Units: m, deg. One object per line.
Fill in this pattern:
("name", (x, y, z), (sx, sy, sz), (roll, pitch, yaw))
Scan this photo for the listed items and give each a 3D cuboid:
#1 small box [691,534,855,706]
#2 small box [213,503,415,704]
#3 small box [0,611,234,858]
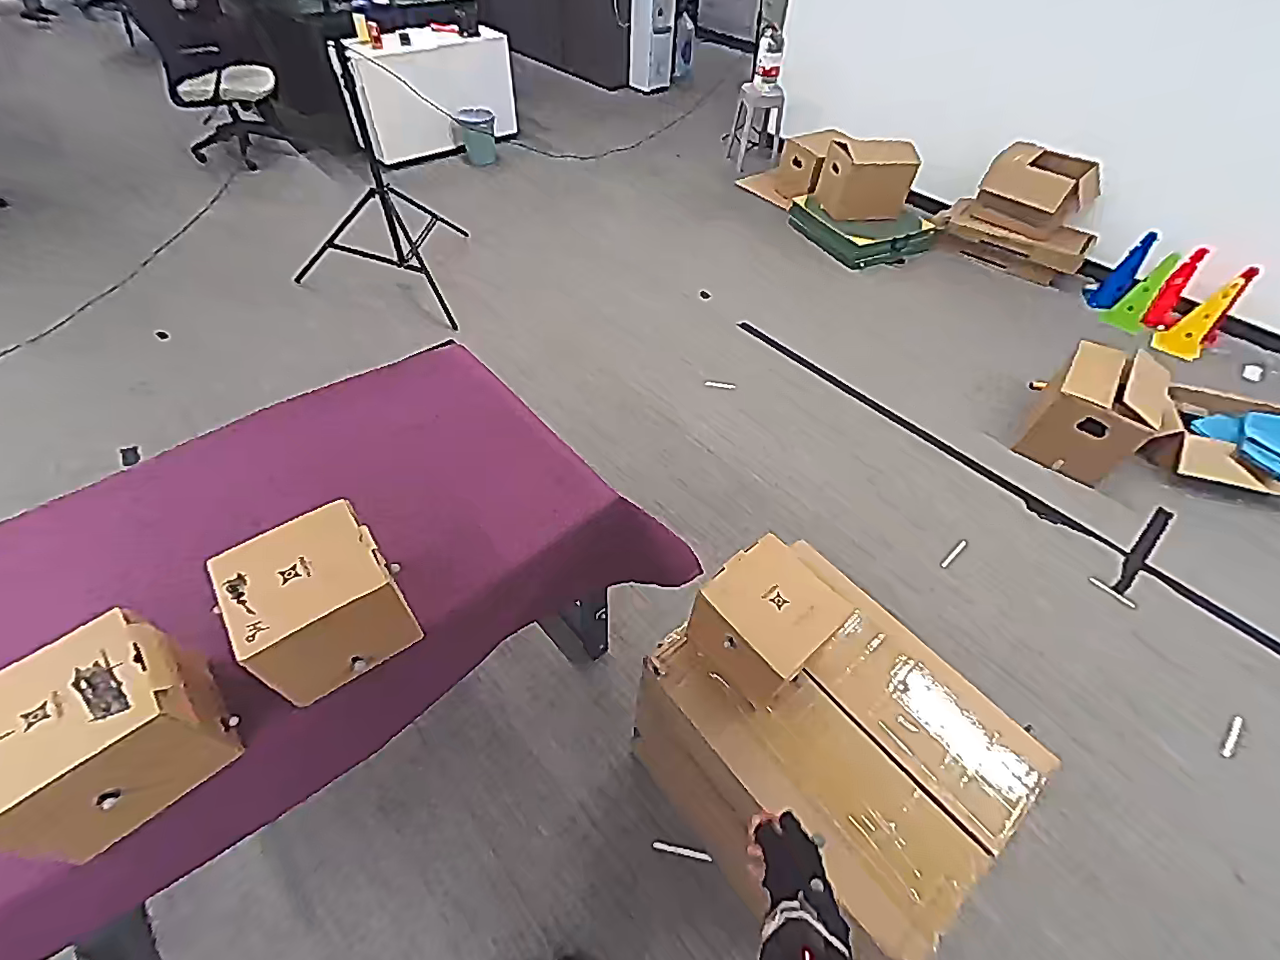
("small box", (0.199, 0.226, 0.868), (0.168, 0.176, 0.179), (-34, 61, -25))
("small box", (-0.431, 0.170, 0.743), (0.179, 0.176, 0.168), (-29, 56, -26))
("small box", (-0.615, 0.293, 0.626), (0.179, 0.176, 0.168), (-35, 59, -27))
